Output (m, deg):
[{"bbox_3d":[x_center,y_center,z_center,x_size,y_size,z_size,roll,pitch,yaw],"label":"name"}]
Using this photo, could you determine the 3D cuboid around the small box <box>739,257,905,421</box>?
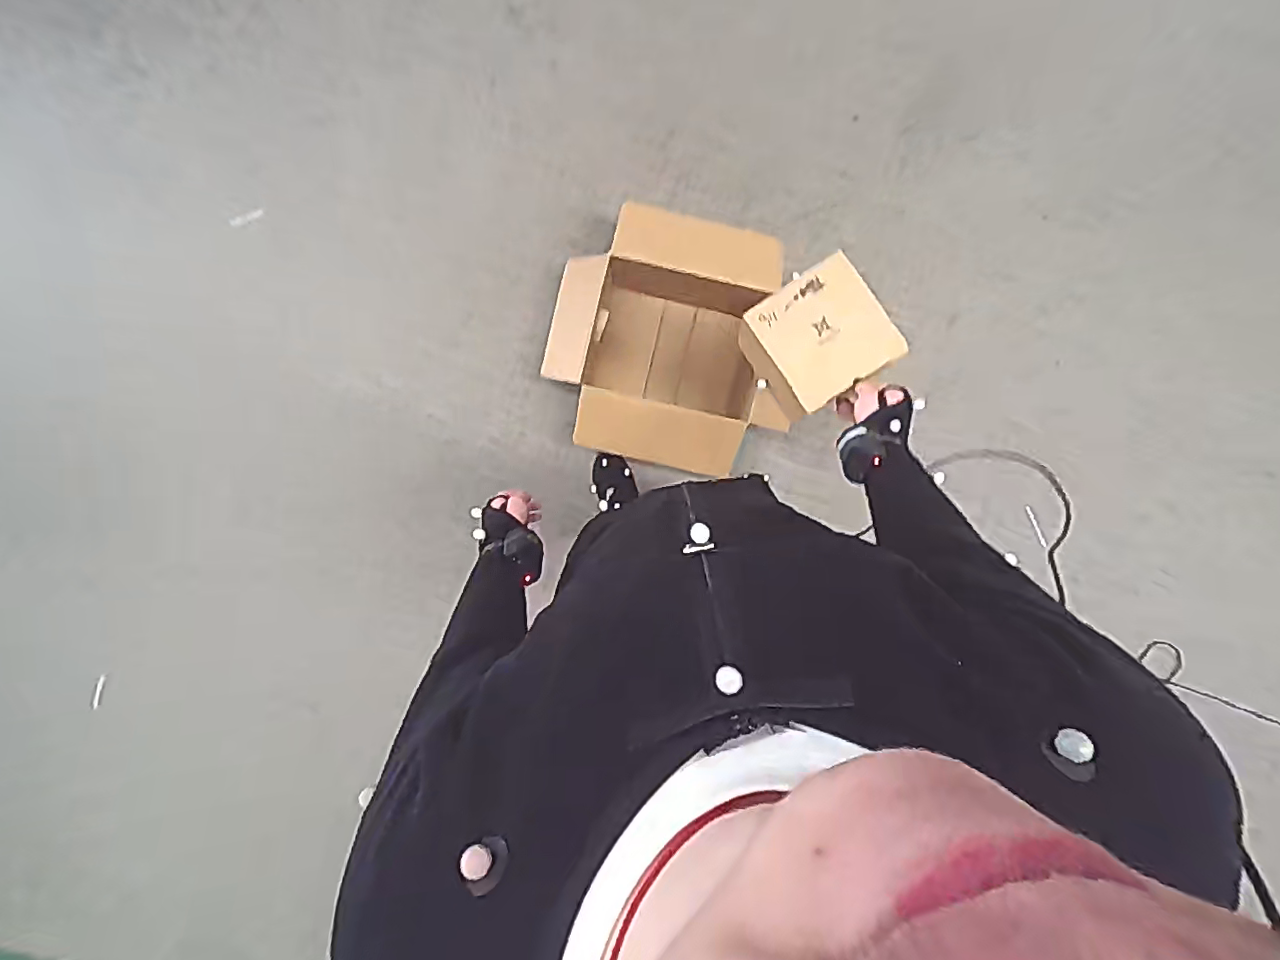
[{"bbox_3d":[0.271,-0.204,0.846,0.168,0.176,0.179,-30,87,4],"label":"small box"}]
